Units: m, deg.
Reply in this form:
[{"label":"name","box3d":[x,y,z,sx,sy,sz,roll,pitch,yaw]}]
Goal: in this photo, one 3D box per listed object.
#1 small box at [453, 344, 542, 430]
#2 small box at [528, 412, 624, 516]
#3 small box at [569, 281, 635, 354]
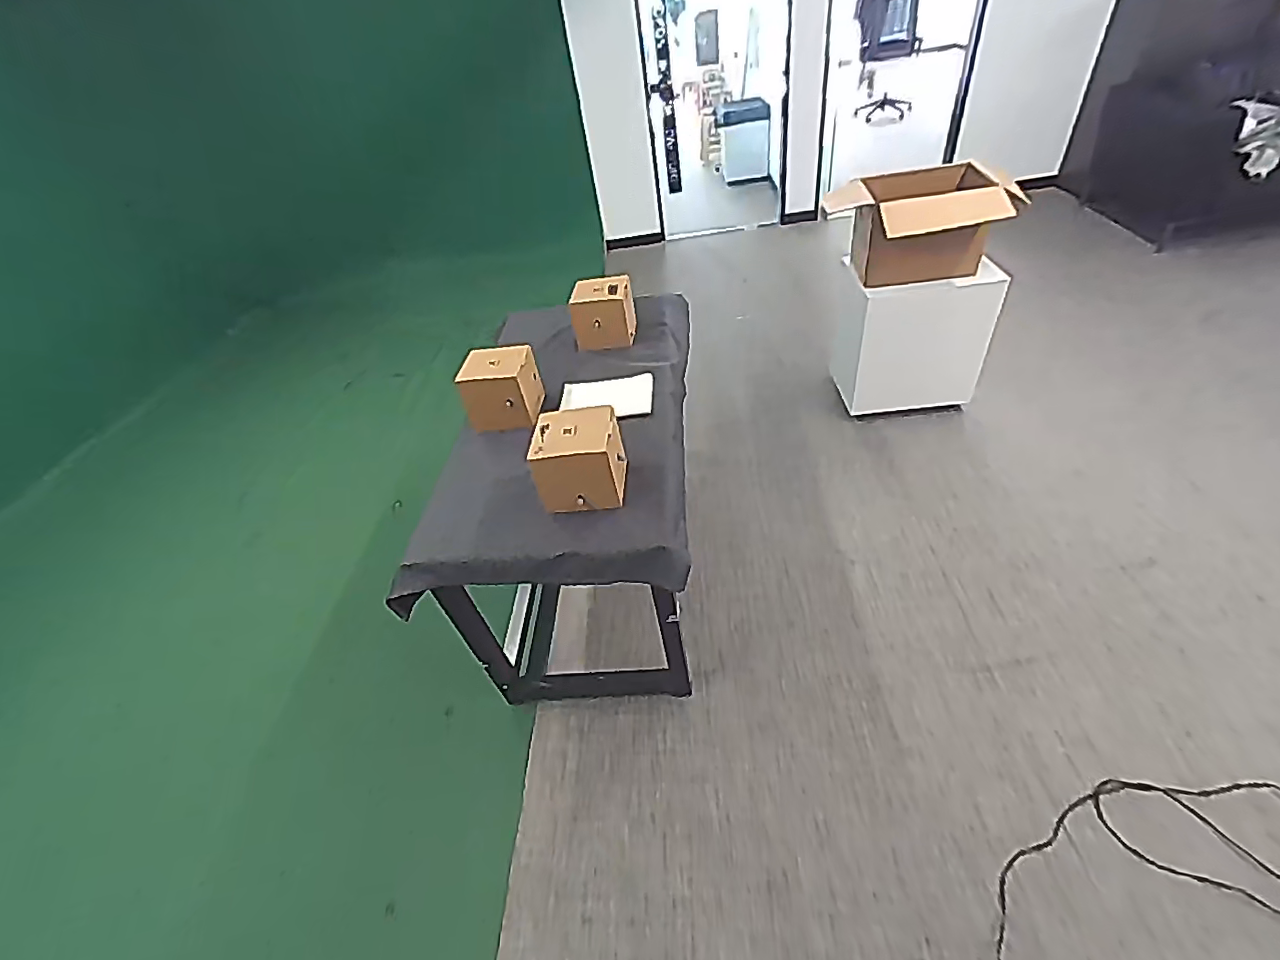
[{"label":"small box","box3d":[-0.385,-0.256,1.501,0.179,0.176,0.168,-4,42,8]},{"label":"small box","box3d":[-0.135,-0.035,1.231,0.179,0.176,0.168,-4,42,8]},{"label":"small box","box3d":[-0.115,-0.526,1.758,0.179,0.176,0.168,-2,43,10]}]
